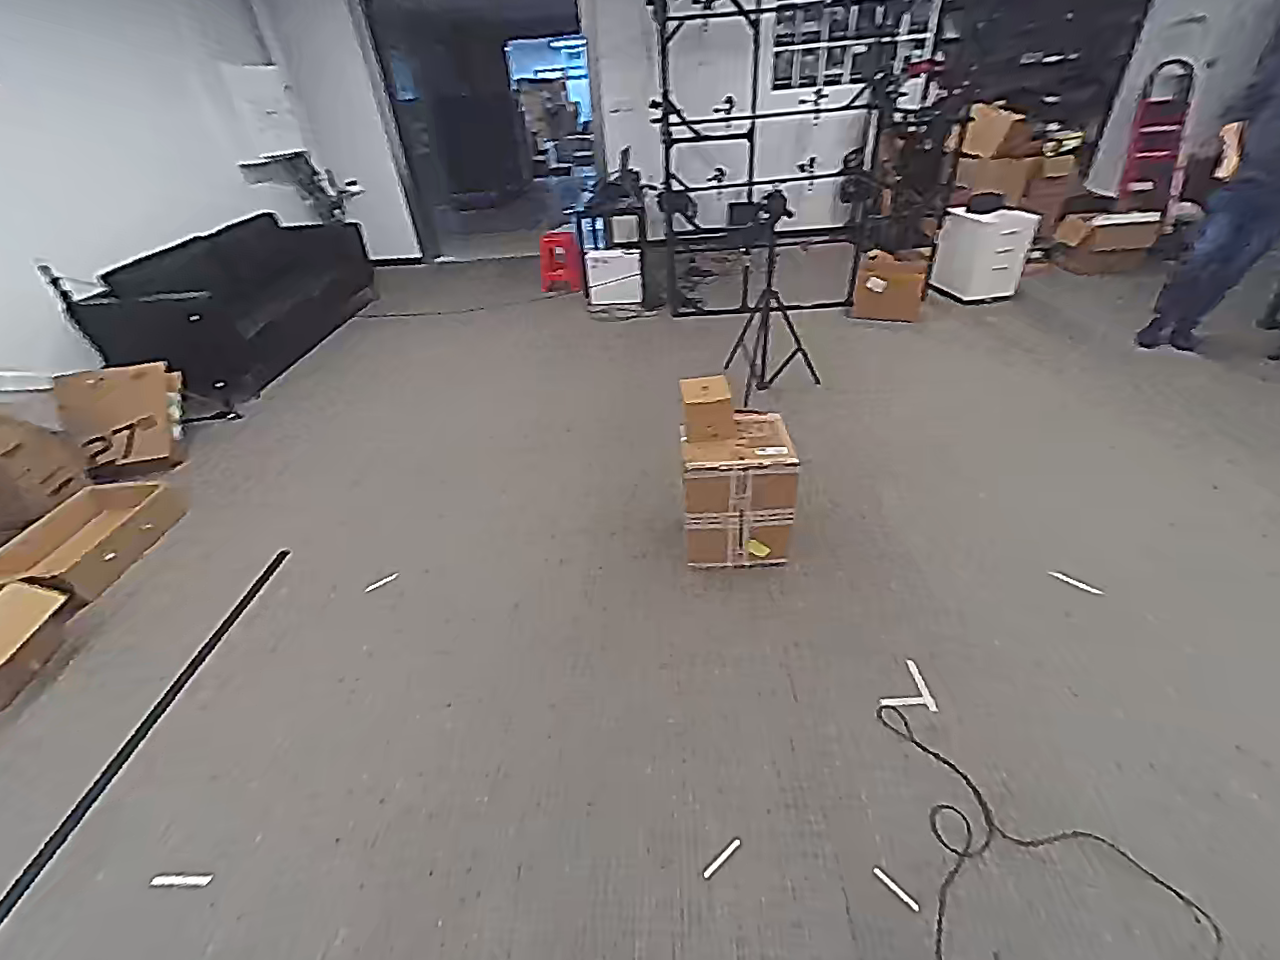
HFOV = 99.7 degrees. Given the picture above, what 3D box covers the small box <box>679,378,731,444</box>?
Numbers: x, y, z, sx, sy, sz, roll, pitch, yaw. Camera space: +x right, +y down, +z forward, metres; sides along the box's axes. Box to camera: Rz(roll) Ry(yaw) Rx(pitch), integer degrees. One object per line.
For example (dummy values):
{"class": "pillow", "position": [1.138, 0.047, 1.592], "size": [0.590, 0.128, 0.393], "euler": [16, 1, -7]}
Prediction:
{"class": "small box", "position": [0.234, -0.252, 1.968], "size": [0.168, 0.176, 0.179], "euler": [-7, 38, 1]}
